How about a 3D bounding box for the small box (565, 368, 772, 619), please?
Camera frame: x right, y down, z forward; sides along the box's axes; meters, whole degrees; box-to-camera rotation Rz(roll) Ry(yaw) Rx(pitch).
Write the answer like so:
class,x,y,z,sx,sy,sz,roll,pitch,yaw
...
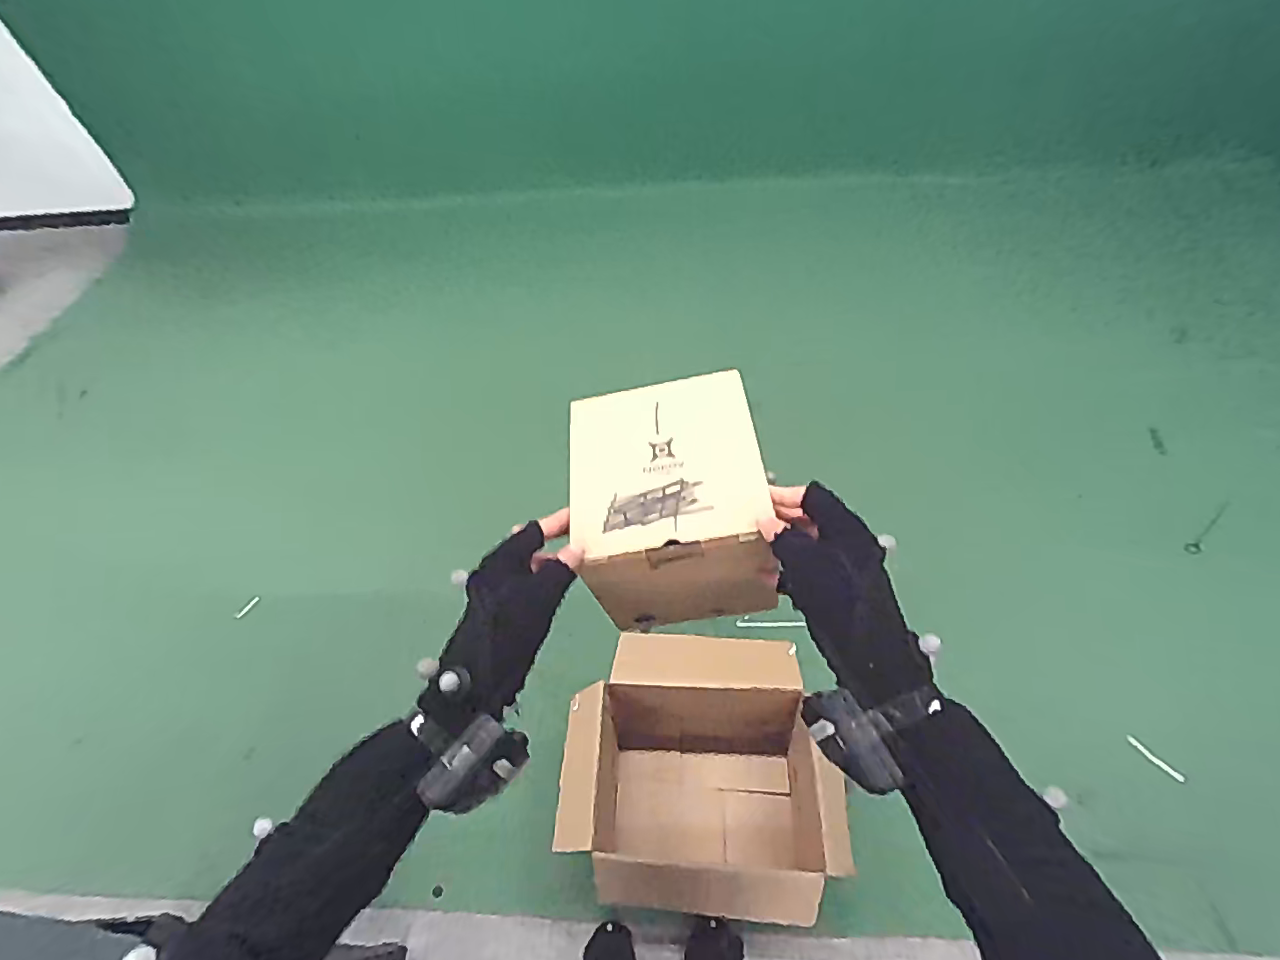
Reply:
class,x,y,z,sx,sy,sz,roll,pitch,yaw
small box,0.031,0.024,0.525,0.168,0.176,0.179,-9,54,7
